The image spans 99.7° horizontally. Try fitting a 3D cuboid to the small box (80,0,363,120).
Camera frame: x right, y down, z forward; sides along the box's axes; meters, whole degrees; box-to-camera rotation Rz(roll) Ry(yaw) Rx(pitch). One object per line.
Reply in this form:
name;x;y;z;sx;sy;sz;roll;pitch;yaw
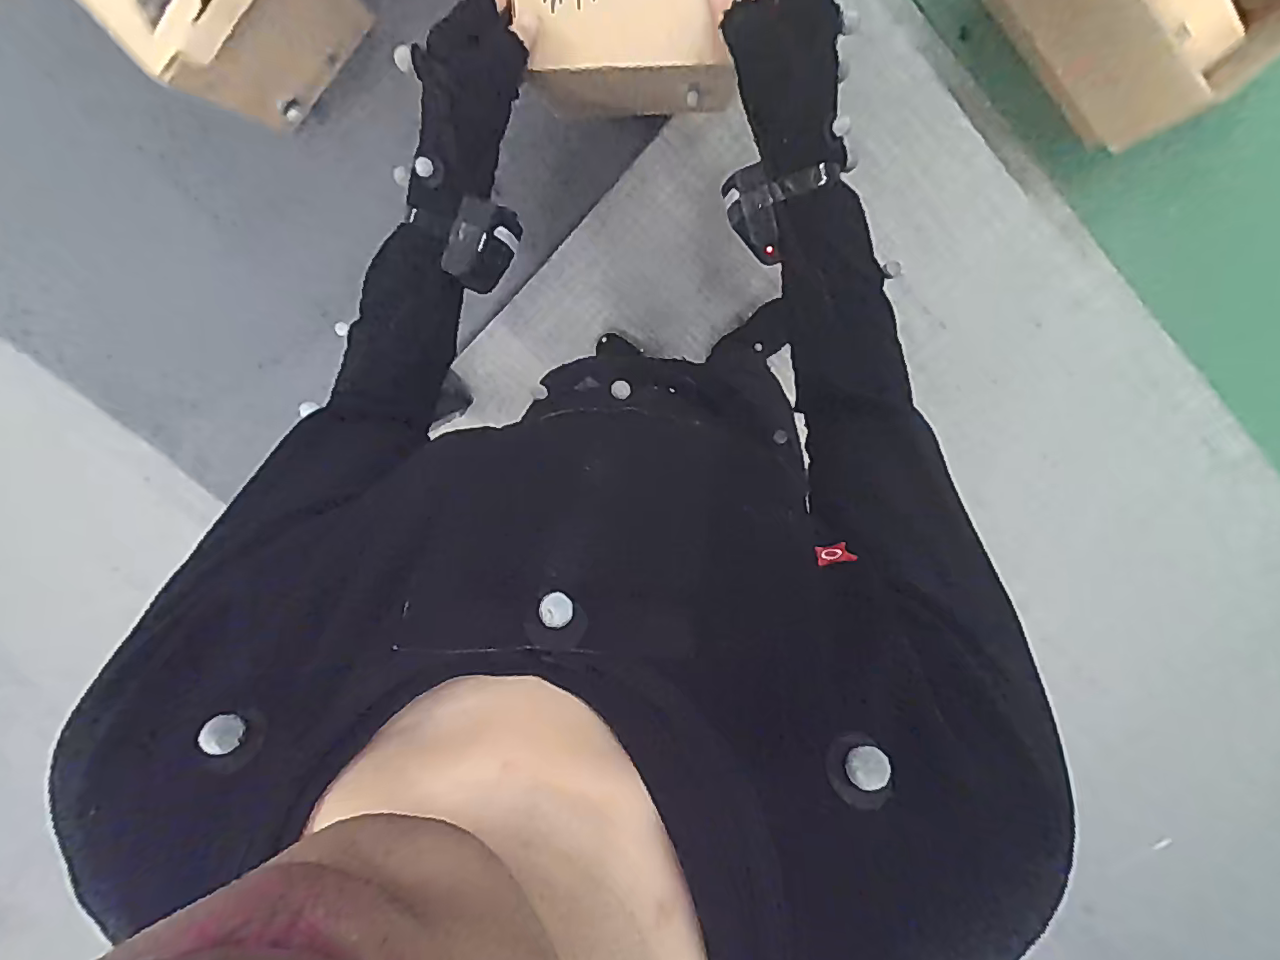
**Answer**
small box;-0.416;-0.490;0.523;0.168;0.176;0.179;-39;101;15
